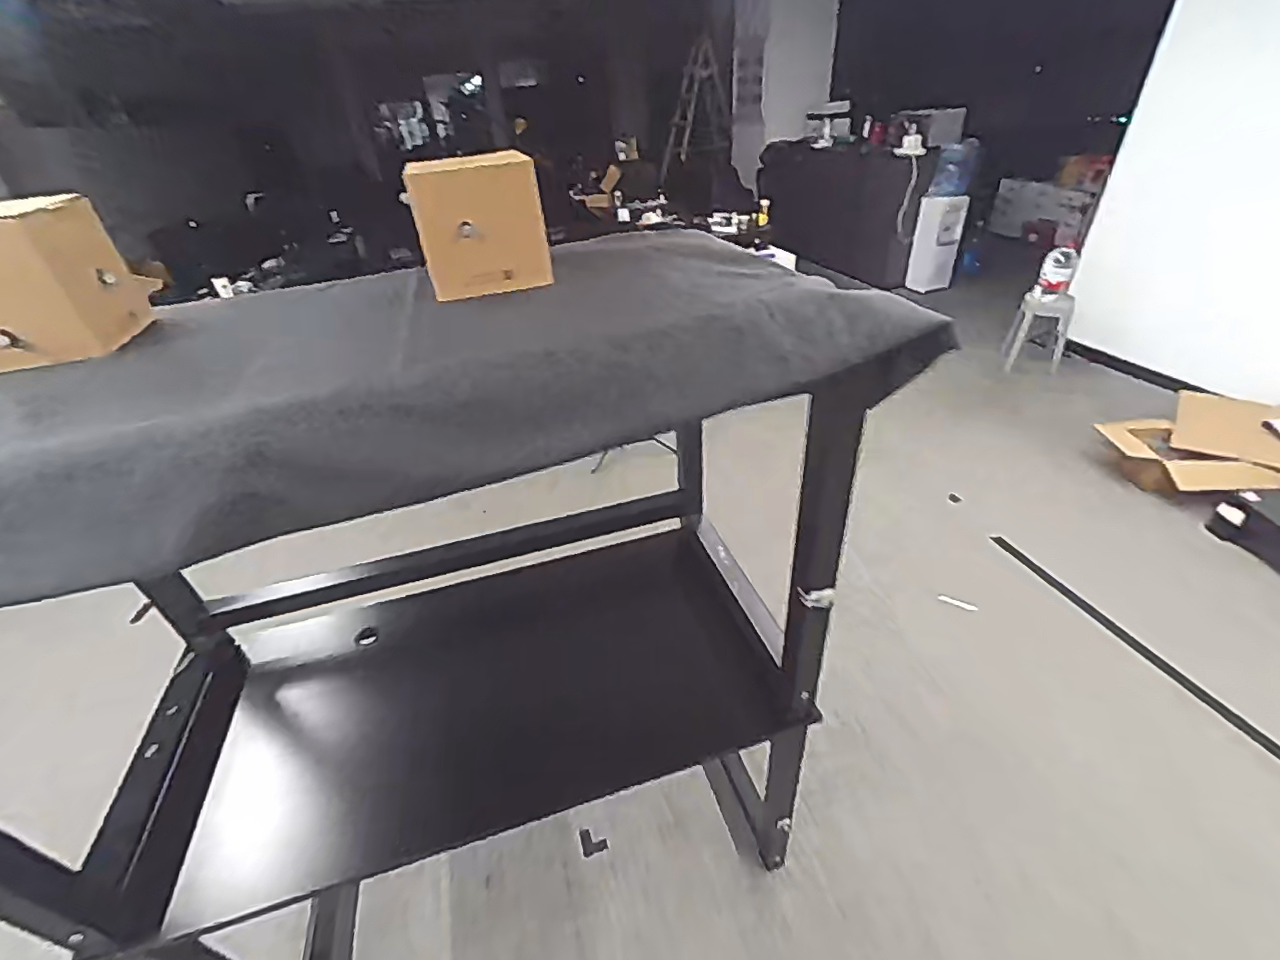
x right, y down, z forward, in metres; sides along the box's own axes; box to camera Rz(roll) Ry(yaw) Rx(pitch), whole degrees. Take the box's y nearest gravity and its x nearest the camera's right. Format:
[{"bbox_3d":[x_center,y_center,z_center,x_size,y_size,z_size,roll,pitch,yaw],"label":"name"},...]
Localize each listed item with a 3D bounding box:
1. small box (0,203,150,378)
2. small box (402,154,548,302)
[{"bbox_3d":[-0.789,-0.240,0.687,0.179,0.176,0.168,-14,36,-14],"label":"small box"},{"bbox_3d":[-0.242,-0.377,0.812,0.168,0.176,0.179,-14,36,-12],"label":"small box"}]
